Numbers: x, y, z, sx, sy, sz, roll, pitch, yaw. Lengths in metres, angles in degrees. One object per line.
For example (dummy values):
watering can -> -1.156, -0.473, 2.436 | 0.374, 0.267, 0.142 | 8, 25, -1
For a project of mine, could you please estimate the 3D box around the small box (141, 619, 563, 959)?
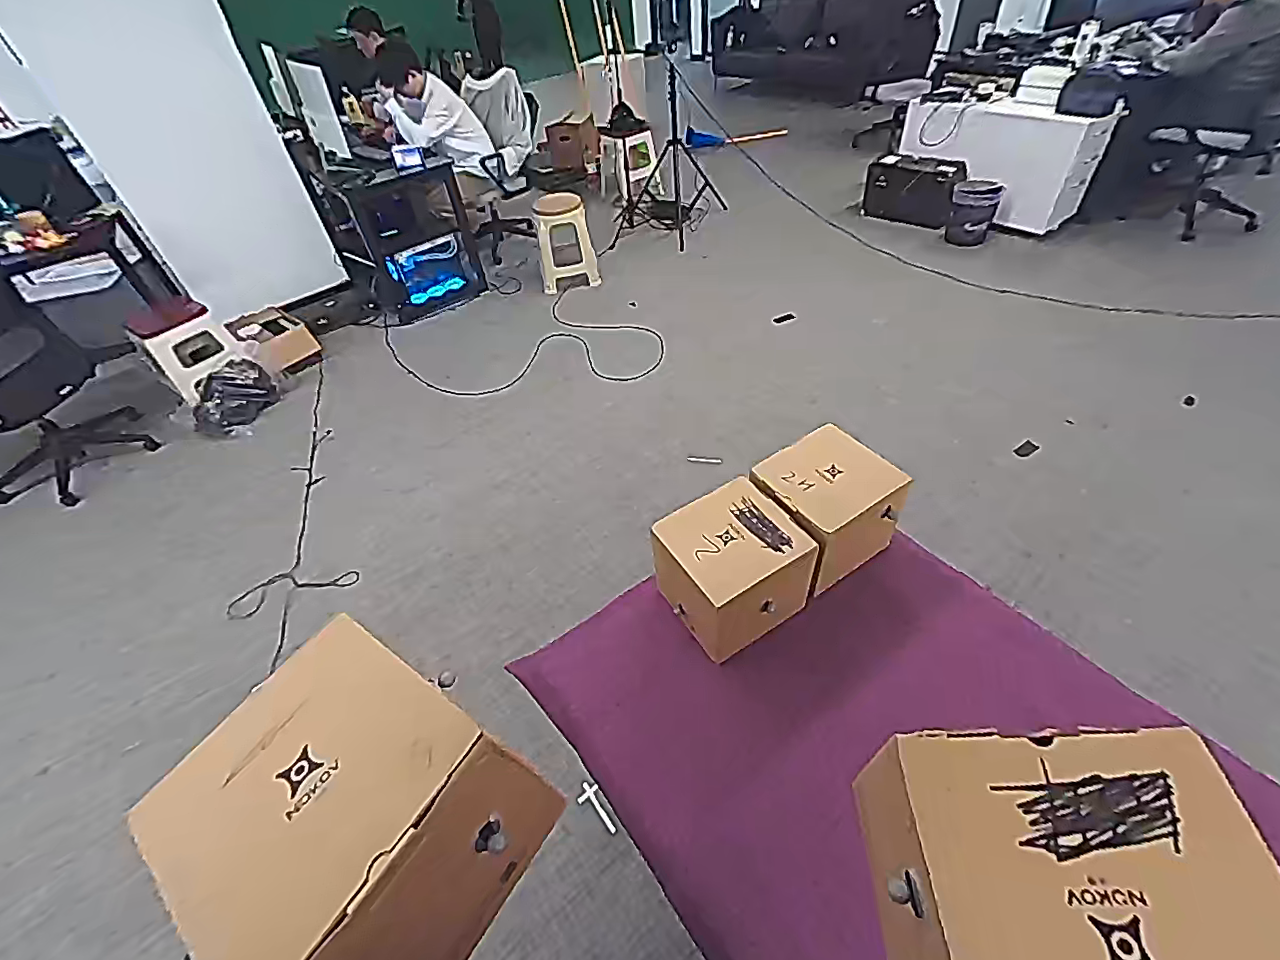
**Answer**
small box -> -0.183, 0.239, 0.390 | 0.179, 0.176, 0.168 | 19, 54, 32

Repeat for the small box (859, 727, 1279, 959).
small box -> 0.247, 0.267, 0.331 | 0.168, 0.176, 0.179 | -5, 52, 7

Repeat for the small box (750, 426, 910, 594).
small box -> 0.294, 0.049, 0.878 | 0.179, 0.176, 0.168 | -28, 48, -19
